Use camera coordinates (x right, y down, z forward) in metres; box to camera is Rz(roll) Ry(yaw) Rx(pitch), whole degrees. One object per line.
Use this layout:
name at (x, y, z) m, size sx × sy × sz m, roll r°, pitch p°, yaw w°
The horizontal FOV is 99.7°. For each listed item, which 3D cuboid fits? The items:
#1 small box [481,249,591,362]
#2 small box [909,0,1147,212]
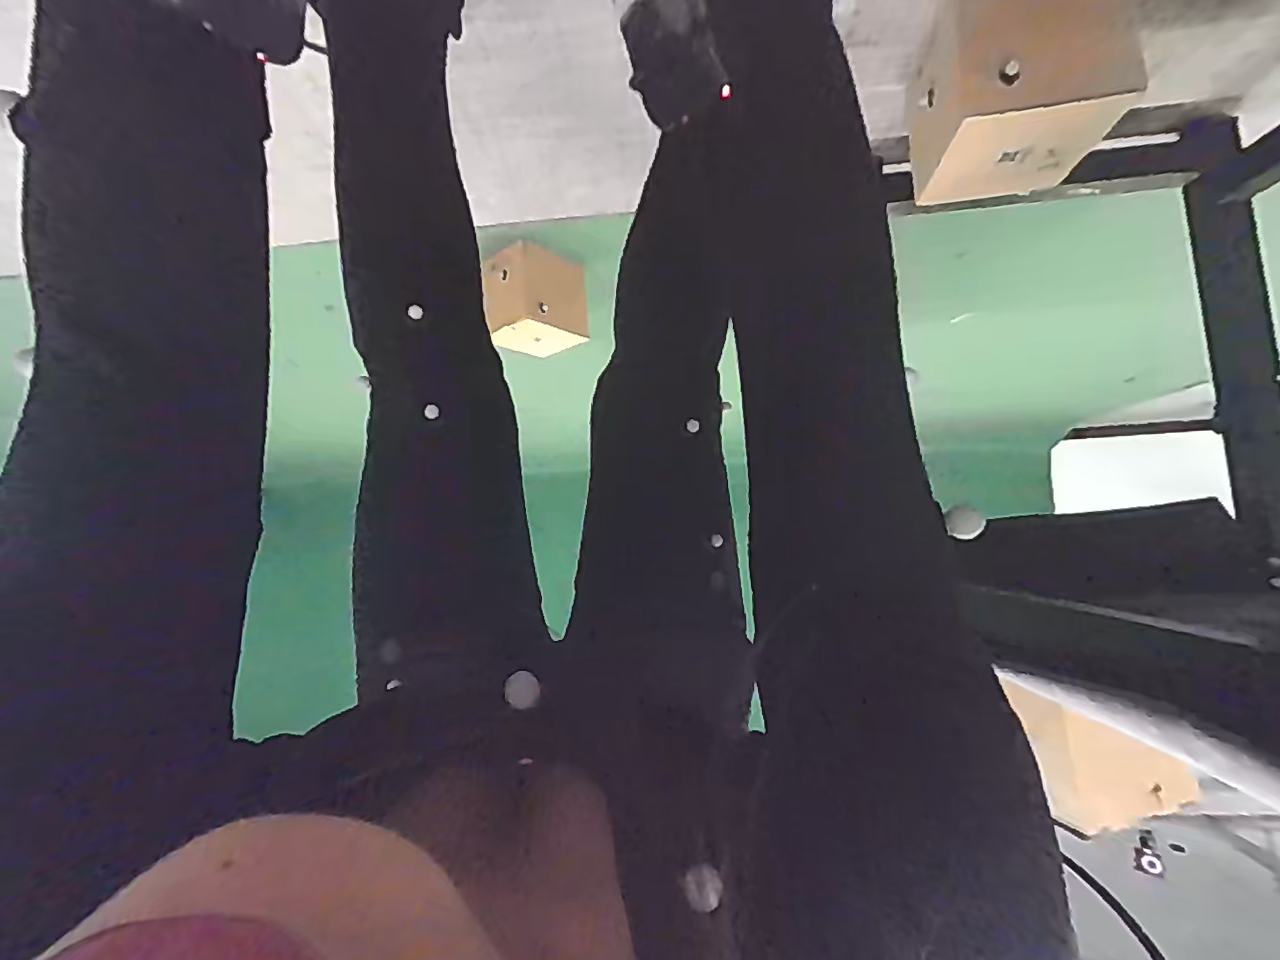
small box at (-0.224, -0.371, 1.171) m, size 0.168 × 0.176 × 0.179 m, roll -8°, pitch 172°, yaw 40°
small box at (0.442, -0.459, 0.650) m, size 0.179 × 0.176 × 0.168 m, roll -4°, pitch 174°, yaw 10°
